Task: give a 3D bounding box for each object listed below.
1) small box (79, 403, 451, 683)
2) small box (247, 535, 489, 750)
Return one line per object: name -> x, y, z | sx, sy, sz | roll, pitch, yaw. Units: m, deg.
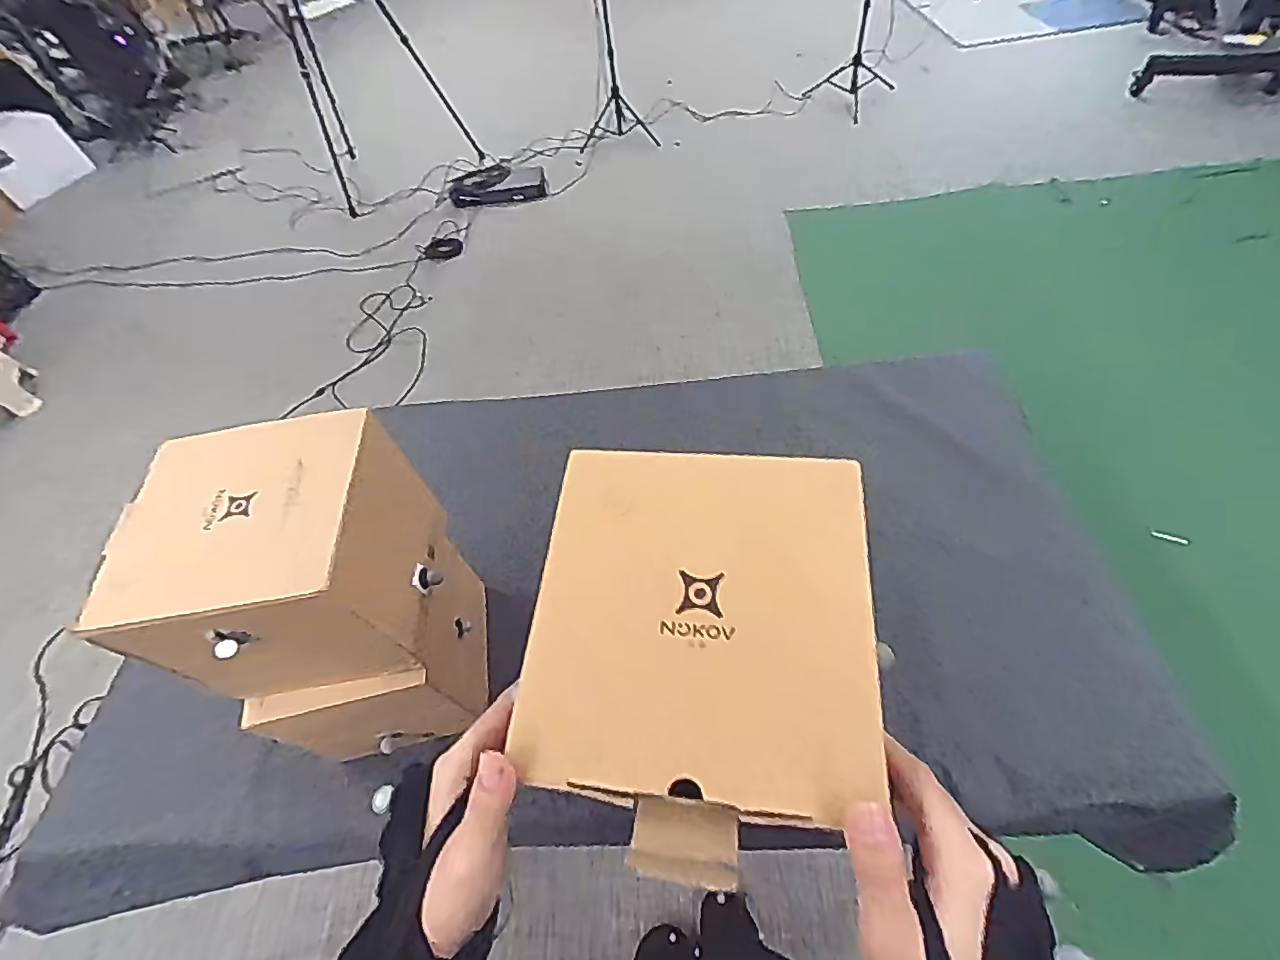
small box -> -0.283, 0.062, 0.462 | 0.179, 0.176, 0.168 | -9, 55, 0
small box -> -0.270, 0.169, 0.584 | 0.168, 0.176, 0.179 | -13, 54, -2
